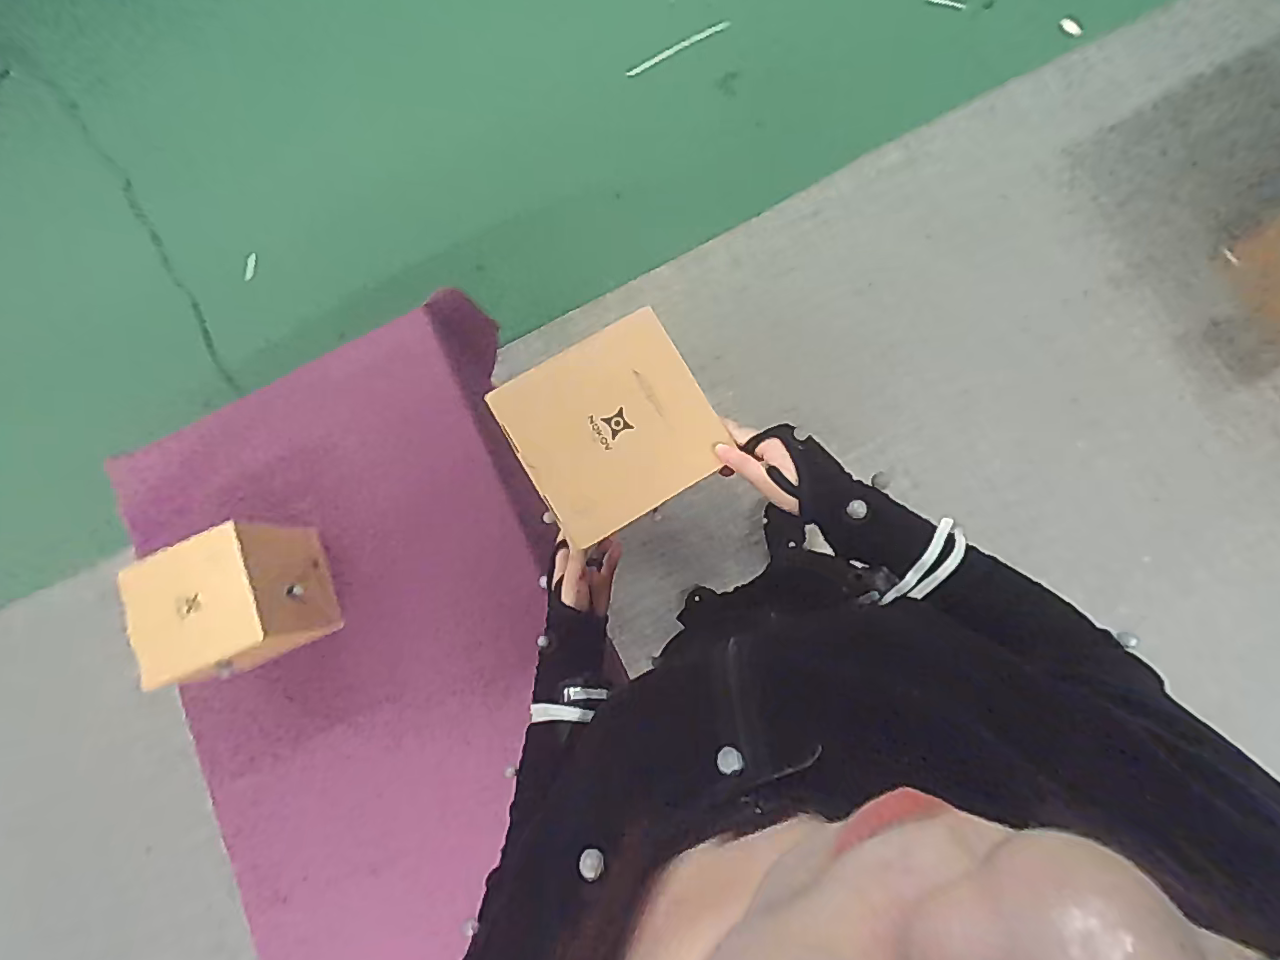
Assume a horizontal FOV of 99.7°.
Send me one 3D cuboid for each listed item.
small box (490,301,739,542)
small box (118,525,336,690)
[{"bbox_3d":[-0.025,-0.046,0.563,0.179,0.176,0.168,-29,87,-5],"label":"small box"},{"bbox_3d":[-0.575,0.174,0.780,0.179,0.176,0.168,-24,80,3],"label":"small box"}]
